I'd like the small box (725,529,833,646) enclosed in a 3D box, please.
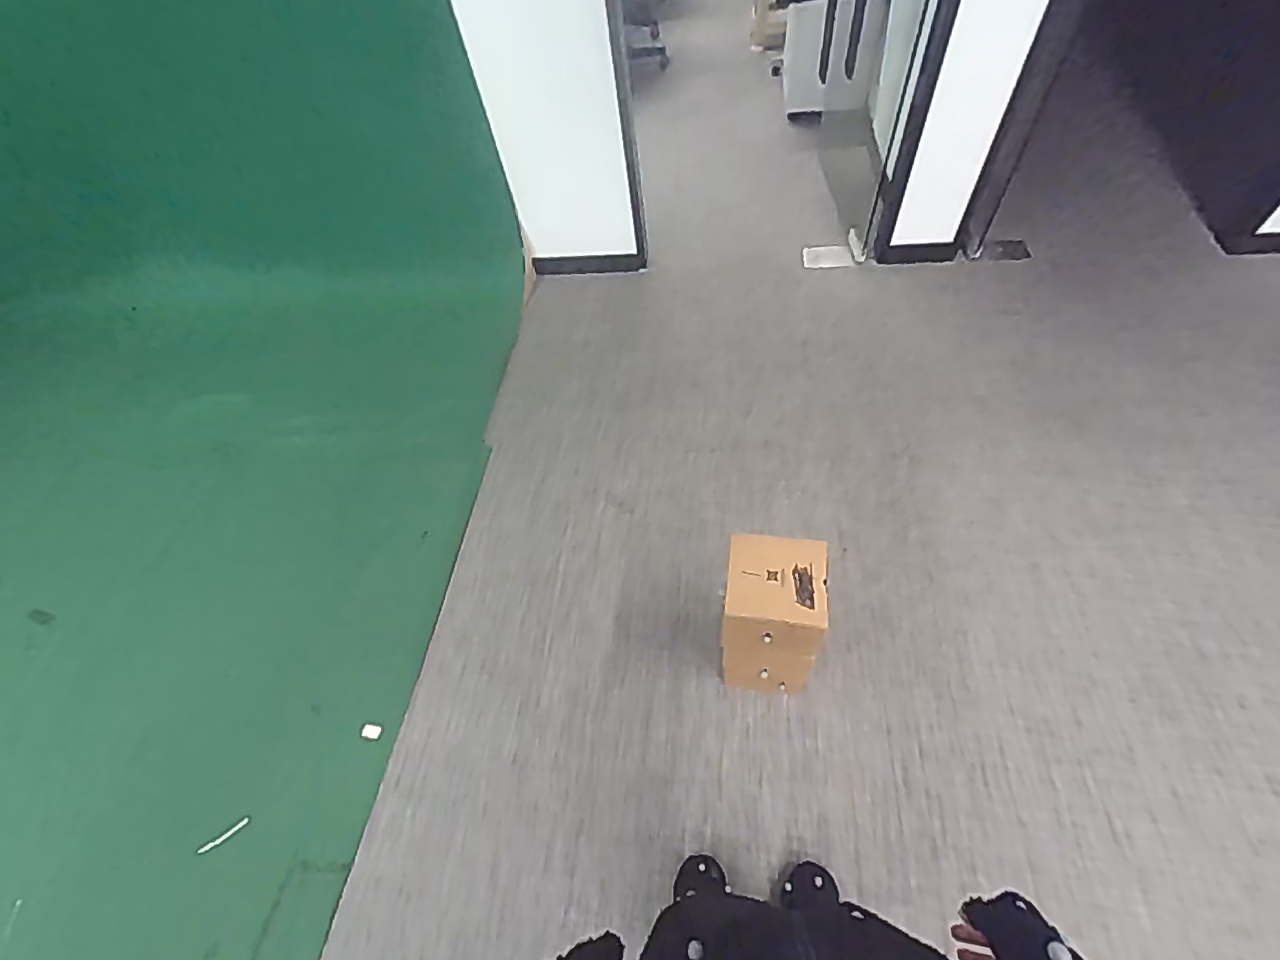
[{"bbox_3d":[0.258,0.209,1.032,0.179,0.176,0.168,3,58,9],"label":"small box"}]

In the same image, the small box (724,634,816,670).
[{"bbox_3d":[0.281,0.299,1.168,0.179,0.176,0.168,7,58,12],"label":"small box"}]

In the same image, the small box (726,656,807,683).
[{"bbox_3d":[0.302,0.383,1.307,0.179,0.176,0.168,2,57,11],"label":"small box"}]
